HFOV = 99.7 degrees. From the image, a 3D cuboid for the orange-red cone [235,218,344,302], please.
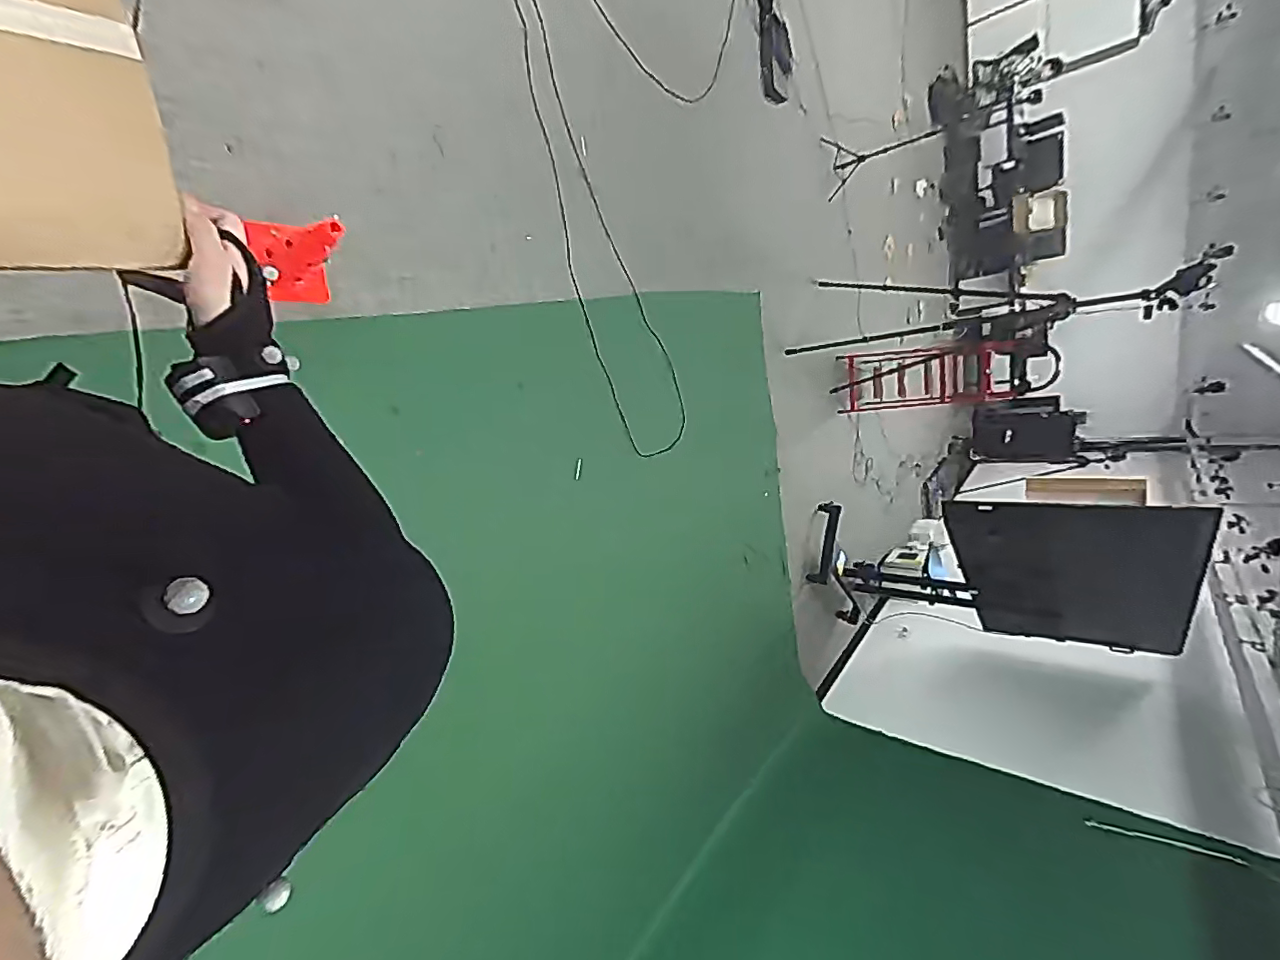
[{"bbox_3d":[-0.825,-0.578,1.338,0.199,0.360,0.198,-15,104,-50],"label":"orange-red cone"}]
